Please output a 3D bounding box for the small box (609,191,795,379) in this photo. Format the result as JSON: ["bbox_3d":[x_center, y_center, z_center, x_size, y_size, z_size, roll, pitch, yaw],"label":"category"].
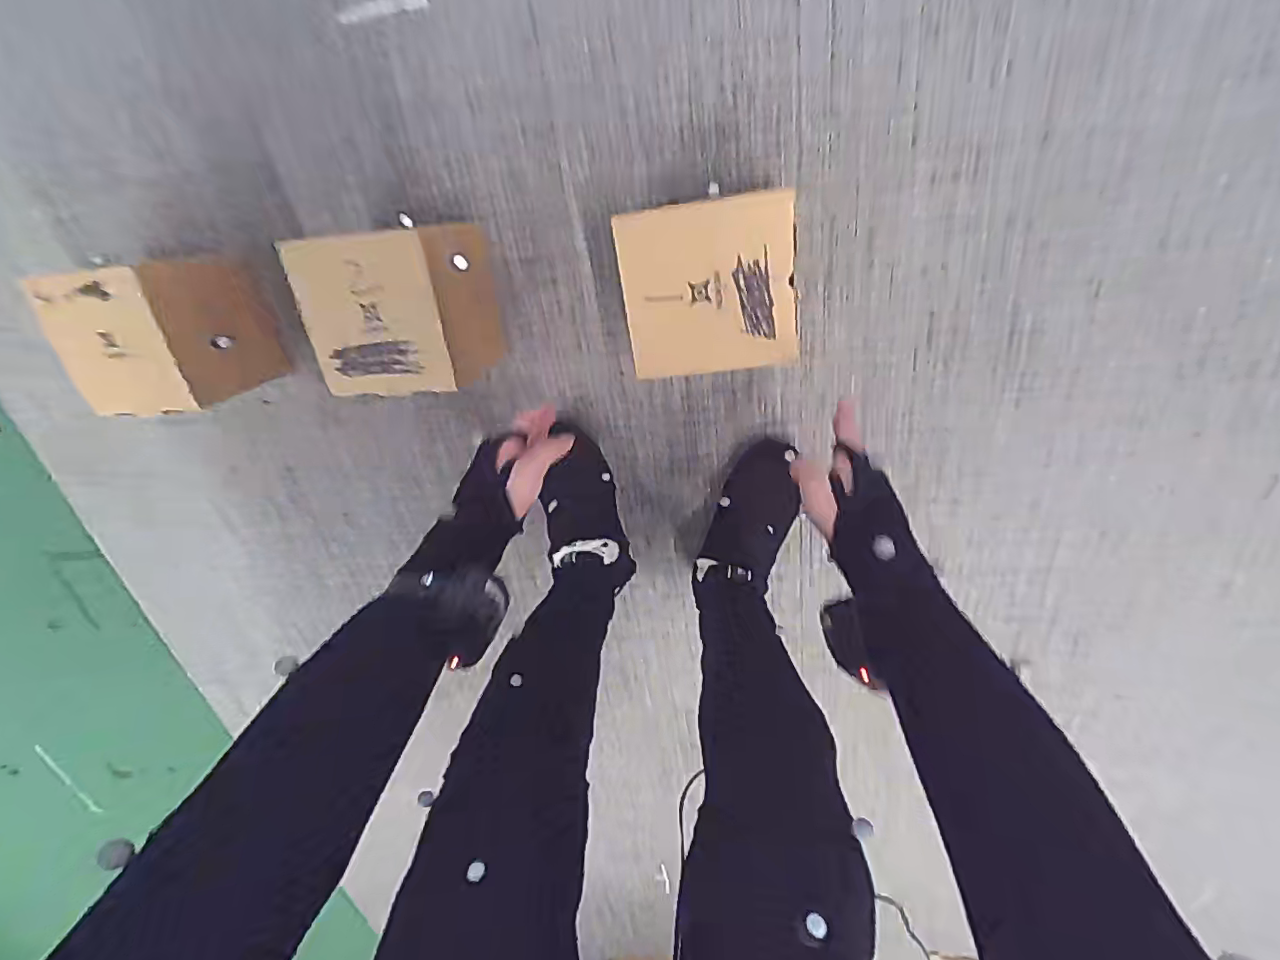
[{"bbox_3d":[0.075,-0.226,0.613,0.179,0.176,0.168,-4,116,11],"label":"small box"}]

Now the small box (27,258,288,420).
[{"bbox_3d":[-0.631,-0.196,0.738,0.168,0.176,0.179,-2,117,10],"label":"small box"}]
